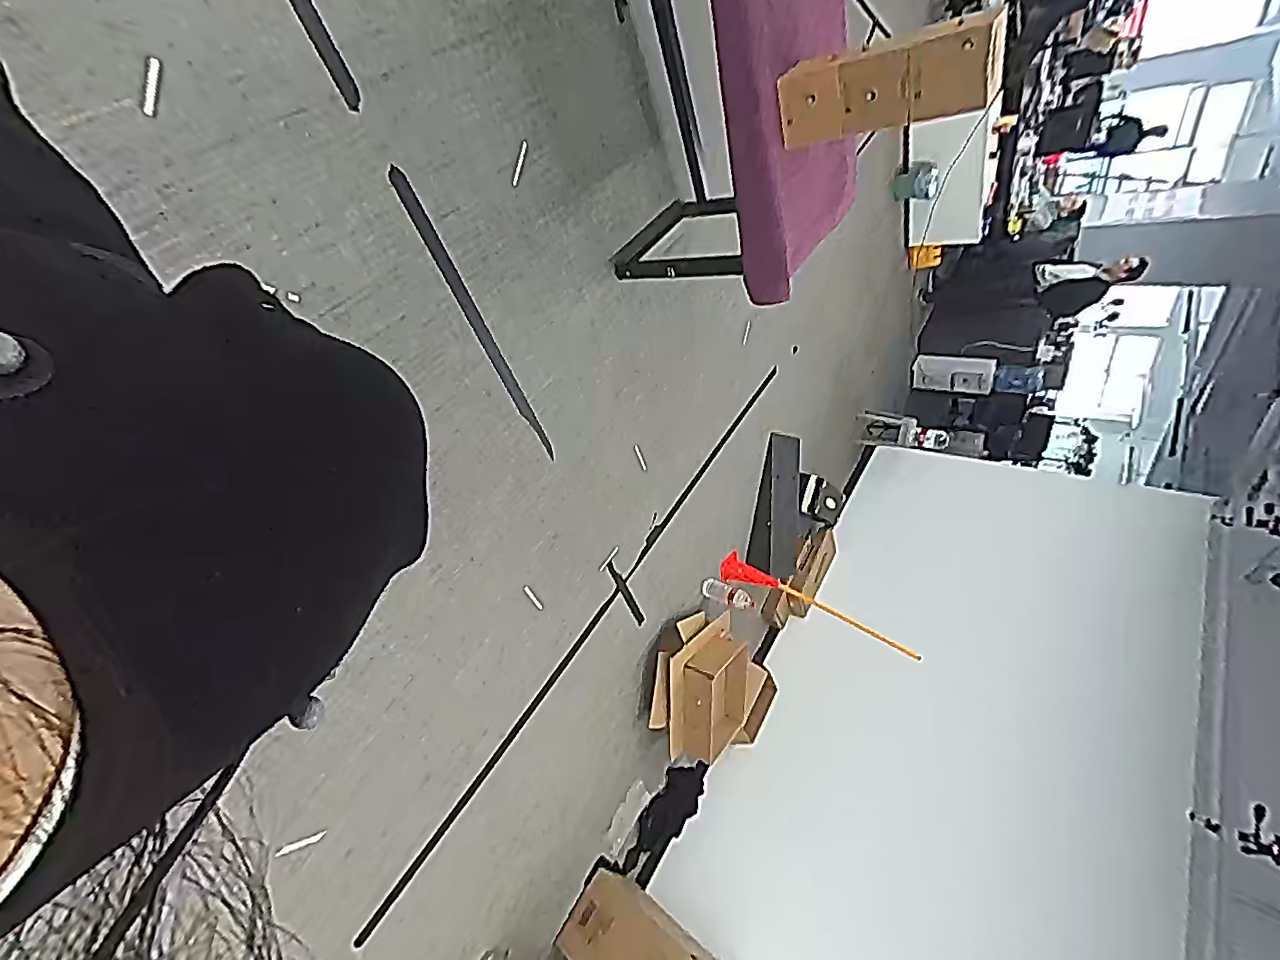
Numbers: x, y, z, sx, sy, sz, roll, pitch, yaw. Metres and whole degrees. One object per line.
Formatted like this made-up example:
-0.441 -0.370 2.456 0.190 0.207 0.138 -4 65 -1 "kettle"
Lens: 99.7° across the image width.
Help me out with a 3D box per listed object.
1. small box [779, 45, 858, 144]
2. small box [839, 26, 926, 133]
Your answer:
0.490 -1.053 1.486 0.179 0.176 0.168 -52 137 -30 "small box"
0.621 -1.023 1.391 0.179 0.176 0.168 -51 137 -30 "small box"
